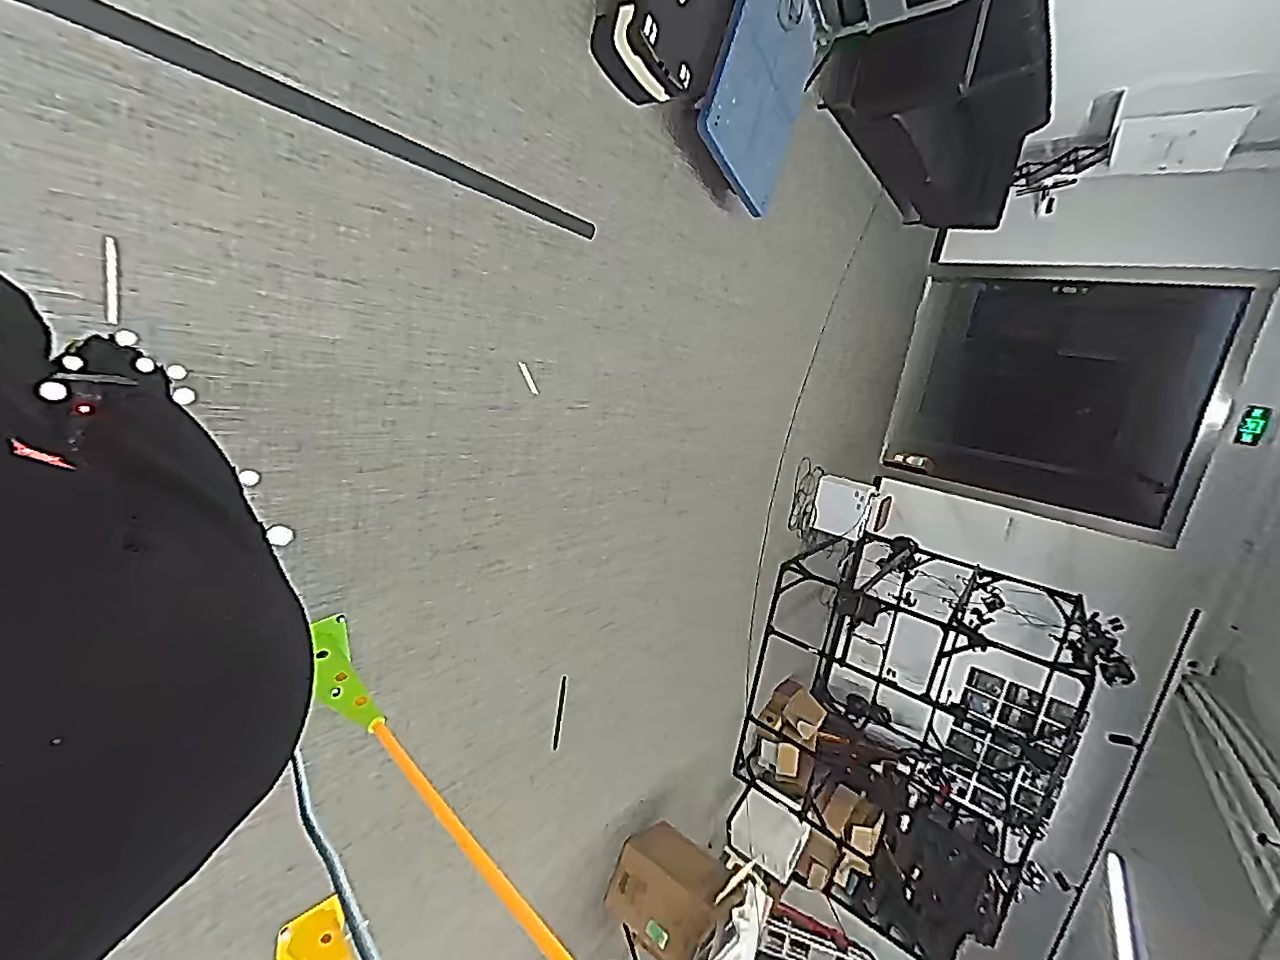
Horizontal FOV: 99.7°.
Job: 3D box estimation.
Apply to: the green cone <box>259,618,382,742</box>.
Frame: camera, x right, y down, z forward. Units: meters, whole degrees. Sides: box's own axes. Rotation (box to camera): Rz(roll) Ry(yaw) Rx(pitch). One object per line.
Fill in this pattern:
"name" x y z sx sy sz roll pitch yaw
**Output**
"green cone" -0.754 0.530 1.337 0.200 0.368 0.202 -21 123 -49
